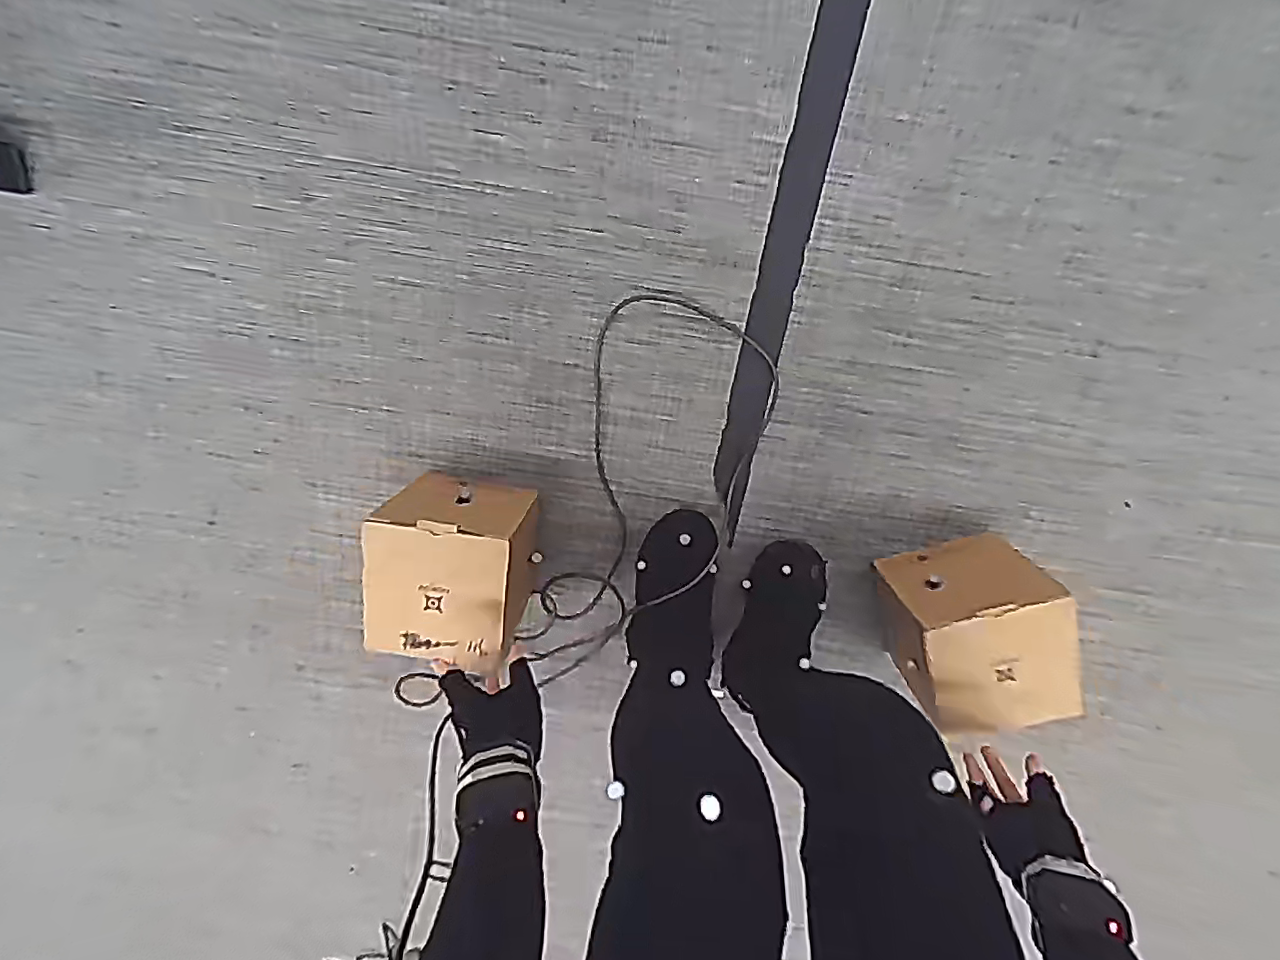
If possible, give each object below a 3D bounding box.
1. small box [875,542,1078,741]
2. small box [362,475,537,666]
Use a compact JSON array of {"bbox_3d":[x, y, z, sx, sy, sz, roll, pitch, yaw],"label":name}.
[{"bbox_3d":[0.425,0.197,0.705,0.168,0.176,0.179,-15,110,10],"label":"small box"},{"bbox_3d":[-0.235,0.105,0.696,0.168,0.176,0.179,10,109,-1],"label":"small box"}]
